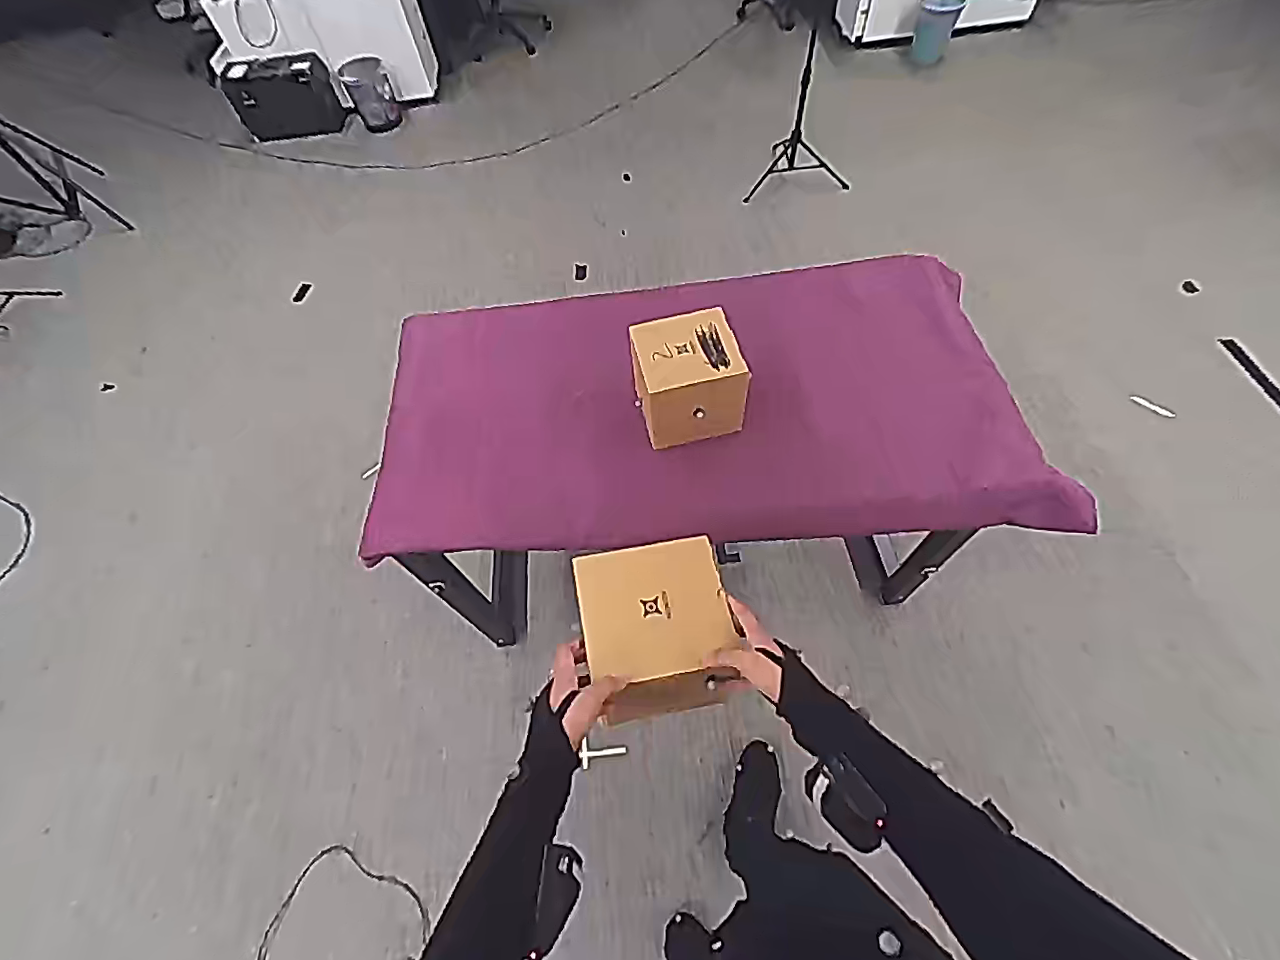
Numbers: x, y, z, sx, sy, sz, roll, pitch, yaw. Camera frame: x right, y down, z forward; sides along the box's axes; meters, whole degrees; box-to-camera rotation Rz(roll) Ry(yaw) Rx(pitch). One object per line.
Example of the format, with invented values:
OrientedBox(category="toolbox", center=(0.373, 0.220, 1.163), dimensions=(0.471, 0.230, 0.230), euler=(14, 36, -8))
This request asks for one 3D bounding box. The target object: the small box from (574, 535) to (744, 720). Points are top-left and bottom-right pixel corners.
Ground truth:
OrientedBox(category="small box", center=(0.017, 0.194, 0.697), dimensions=(0.179, 0.176, 0.168), euler=(-8, 54, -8))
